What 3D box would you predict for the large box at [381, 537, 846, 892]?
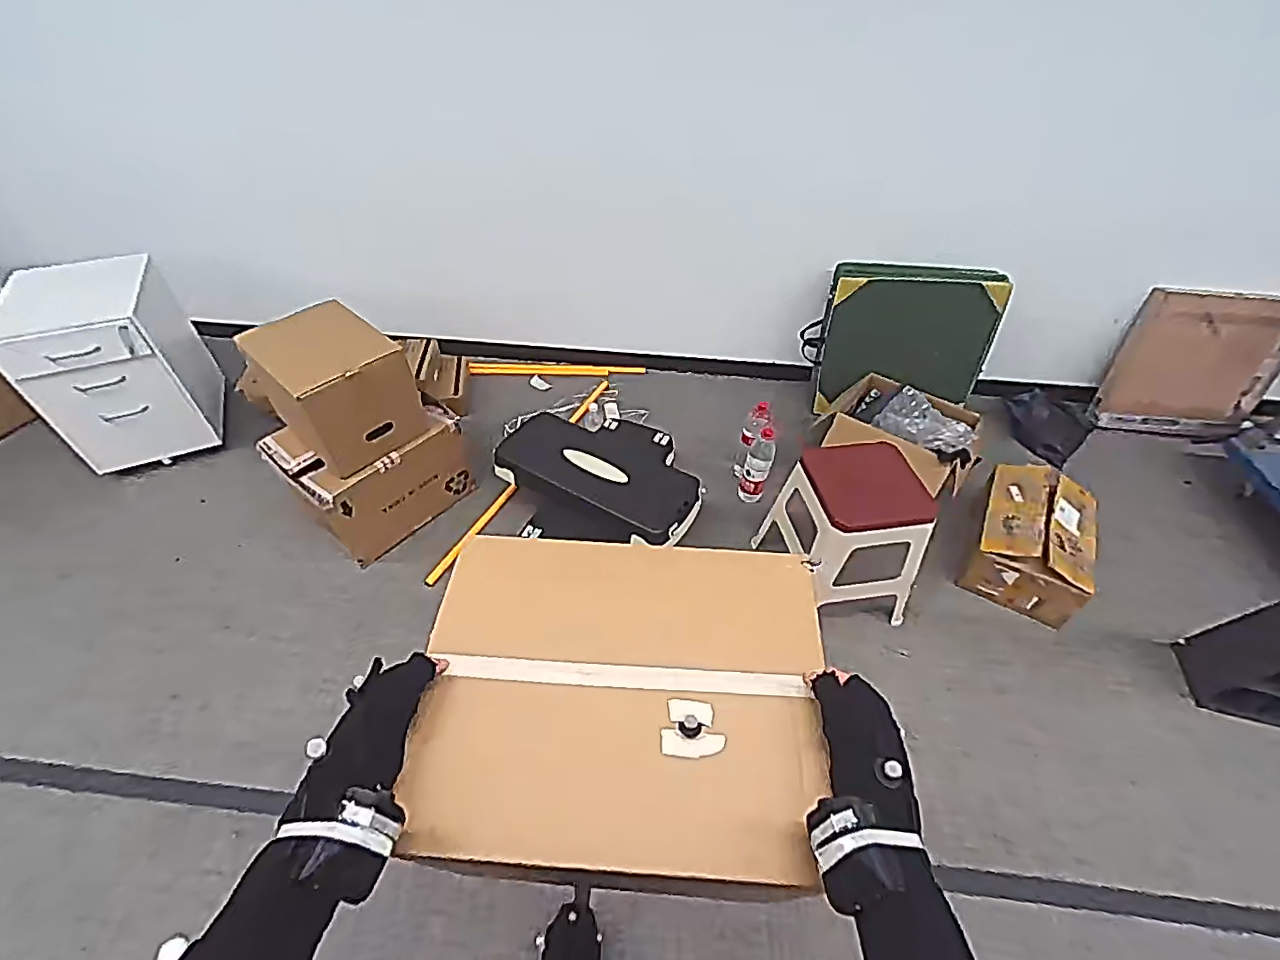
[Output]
[{"bbox_3d":[-0.020,0.291,0.661,0.408,0.320,0.320,4,51,2],"label":"large box"}]
